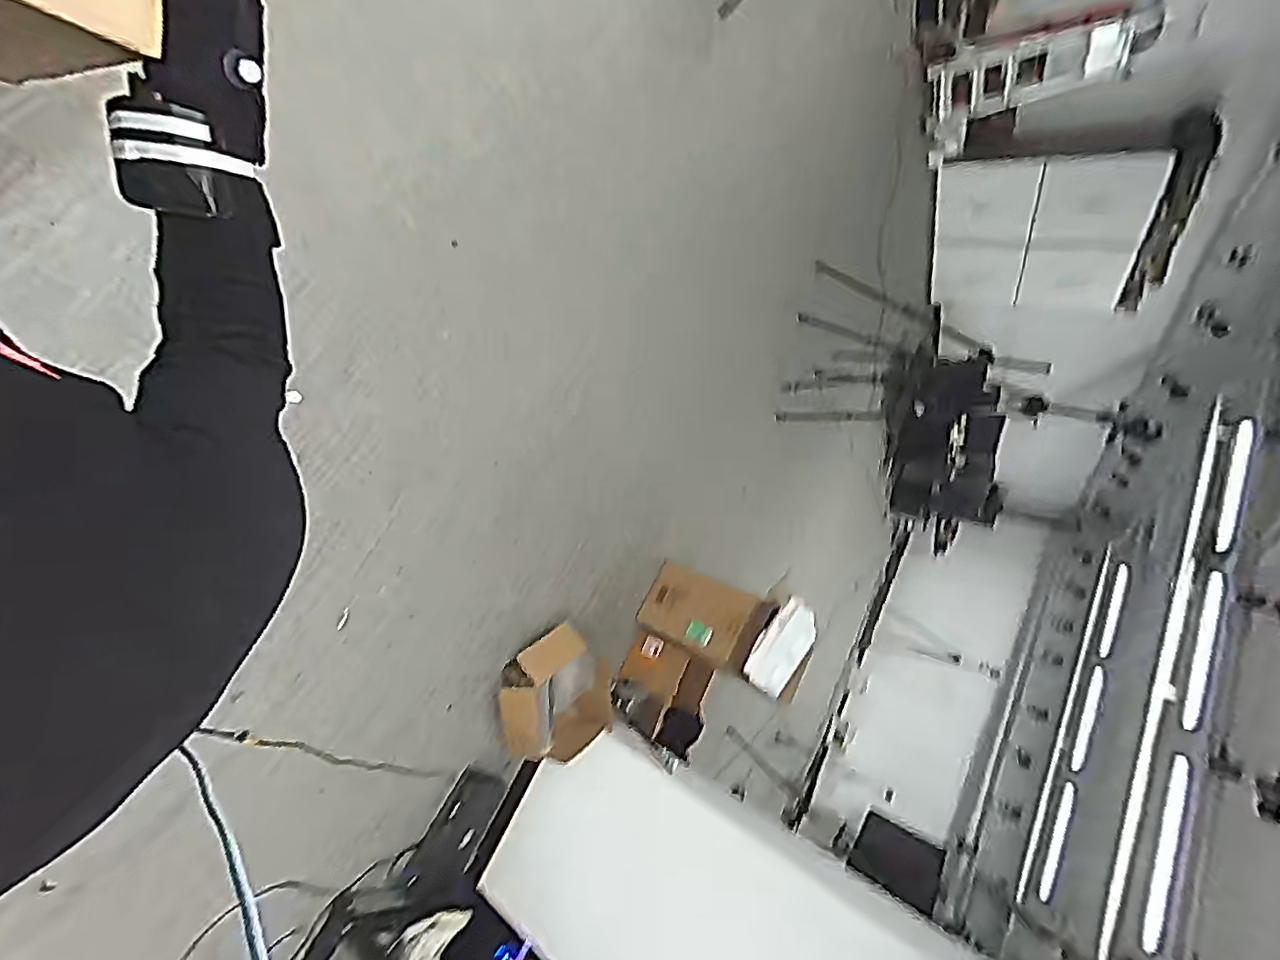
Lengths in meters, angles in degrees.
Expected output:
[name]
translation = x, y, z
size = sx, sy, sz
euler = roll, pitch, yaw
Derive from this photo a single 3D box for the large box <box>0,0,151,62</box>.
[large box]
translation = -0.511, -0.441, 0.203
size = 0.408, 0.320, 0.320
euler = -14, 119, -58
